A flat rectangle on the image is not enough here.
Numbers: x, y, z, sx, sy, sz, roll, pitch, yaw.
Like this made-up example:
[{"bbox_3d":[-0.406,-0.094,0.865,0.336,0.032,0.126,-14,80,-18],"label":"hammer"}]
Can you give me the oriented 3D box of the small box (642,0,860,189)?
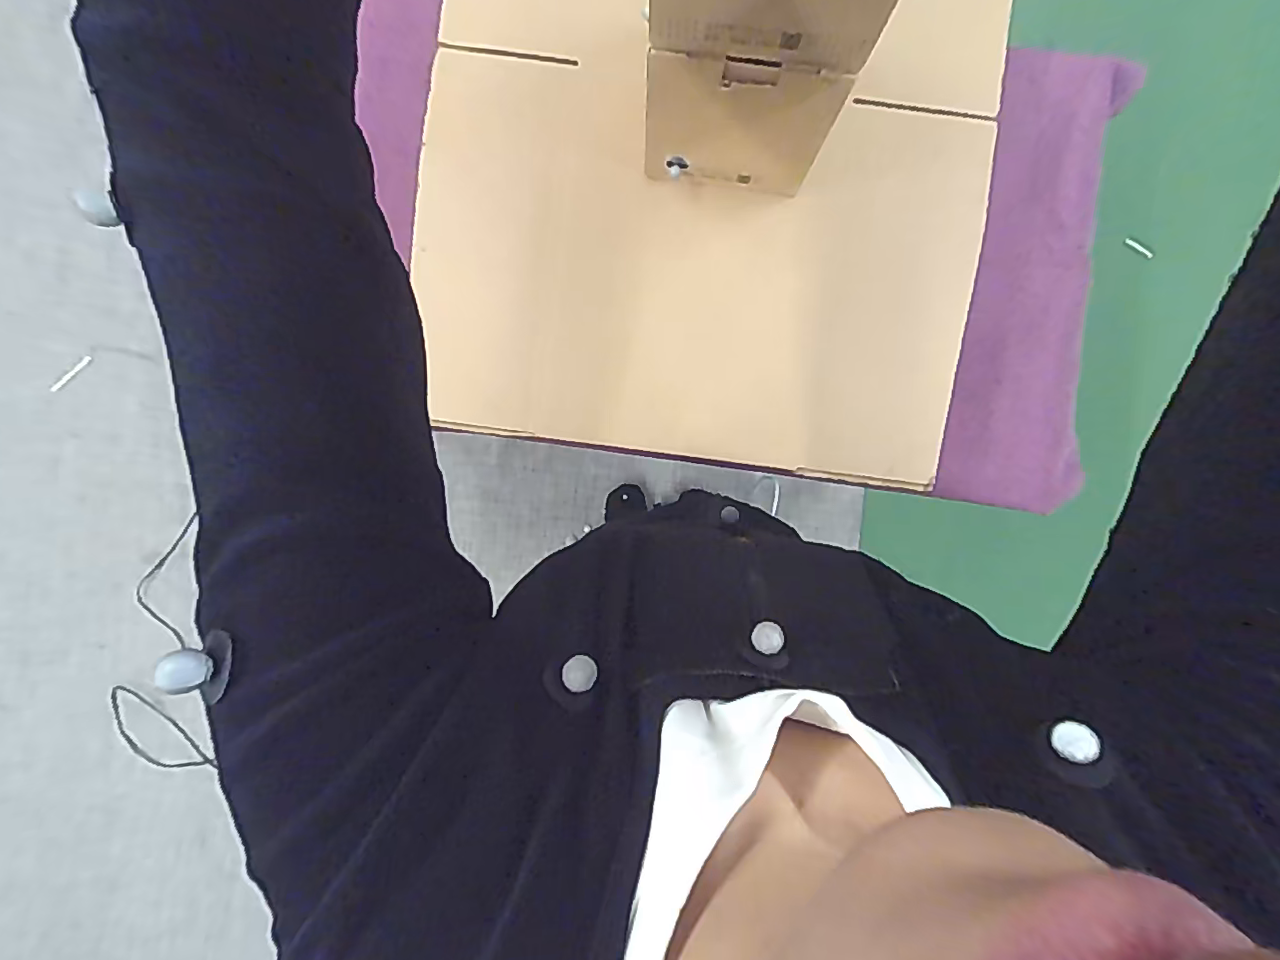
[{"bbox_3d":[0.095,-0.403,0.502,0.168,0.176,0.179,7,87,0],"label":"small box"}]
